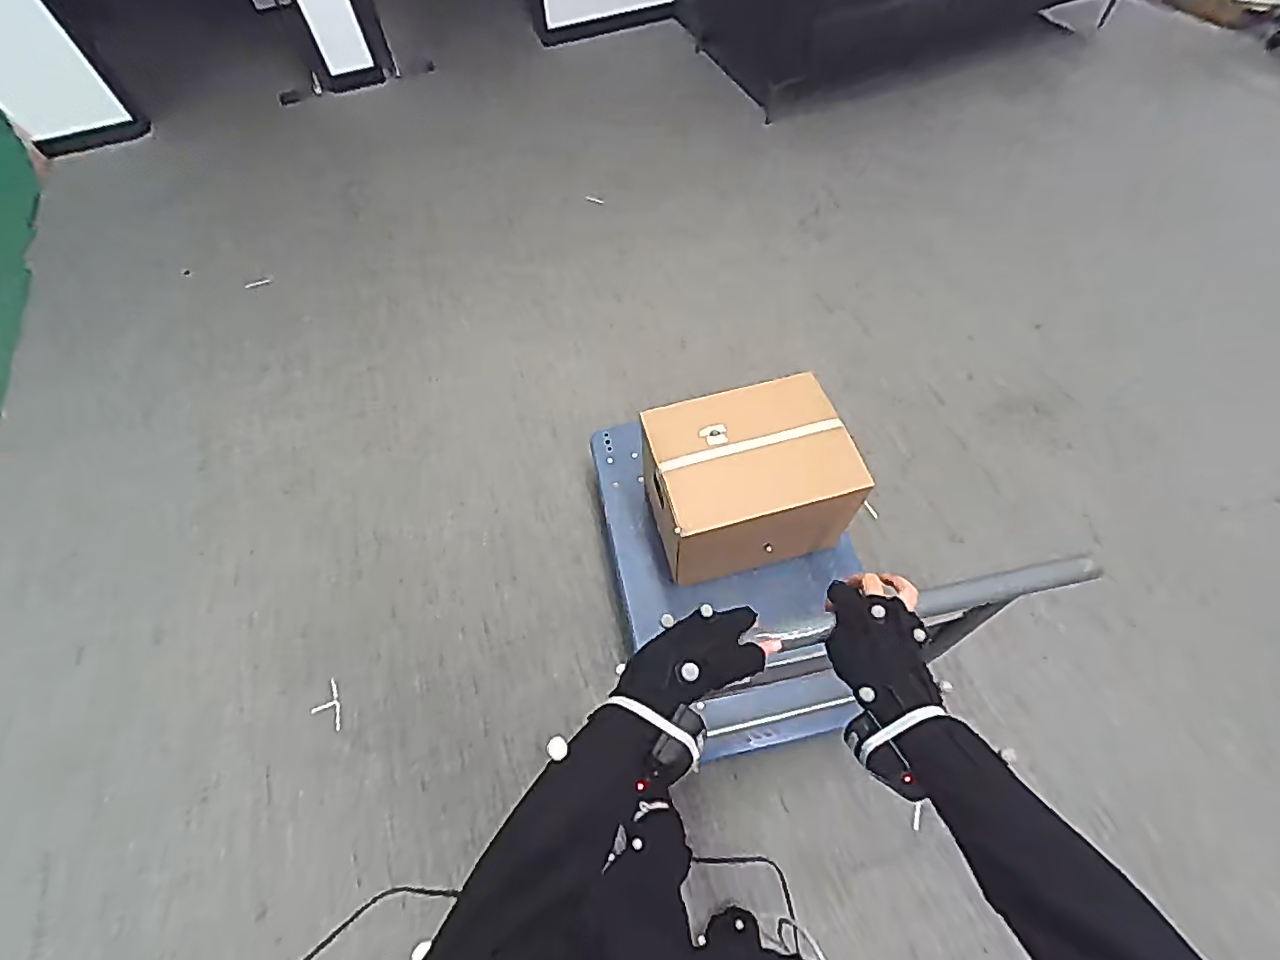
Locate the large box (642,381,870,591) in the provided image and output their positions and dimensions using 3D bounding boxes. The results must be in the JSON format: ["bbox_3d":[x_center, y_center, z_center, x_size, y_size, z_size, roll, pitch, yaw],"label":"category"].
[{"bbox_3d":[0.242,0.023,1.265,0.408,0.320,0.320,-15,59,-5],"label":"large box"}]
